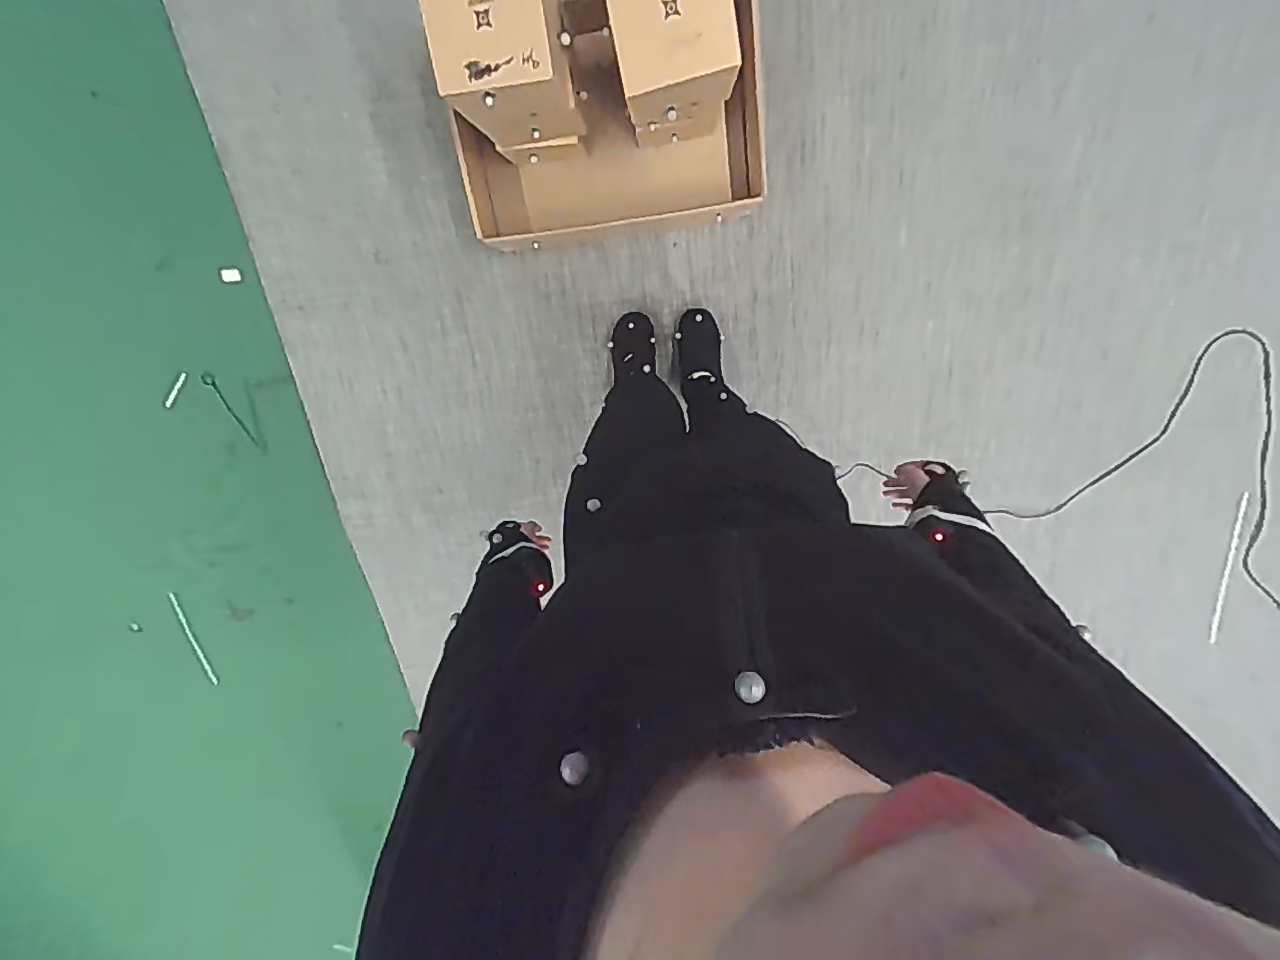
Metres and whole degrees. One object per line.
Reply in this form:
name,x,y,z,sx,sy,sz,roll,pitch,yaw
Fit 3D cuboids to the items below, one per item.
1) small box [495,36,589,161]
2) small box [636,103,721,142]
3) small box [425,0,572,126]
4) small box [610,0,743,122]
small box,-0.201,-0.767,1.109,0.168,0.176,0.179,-4,110,3
small box,0.069,-0.798,1.084,0.168,0.176,0.179,-7,111,6
small box,-0.202,-0.655,0.799,0.168,0.176,0.179,-4,110,4
small box,0.048,-0.657,0.788,0.168,0.176,0.179,-10,112,8
